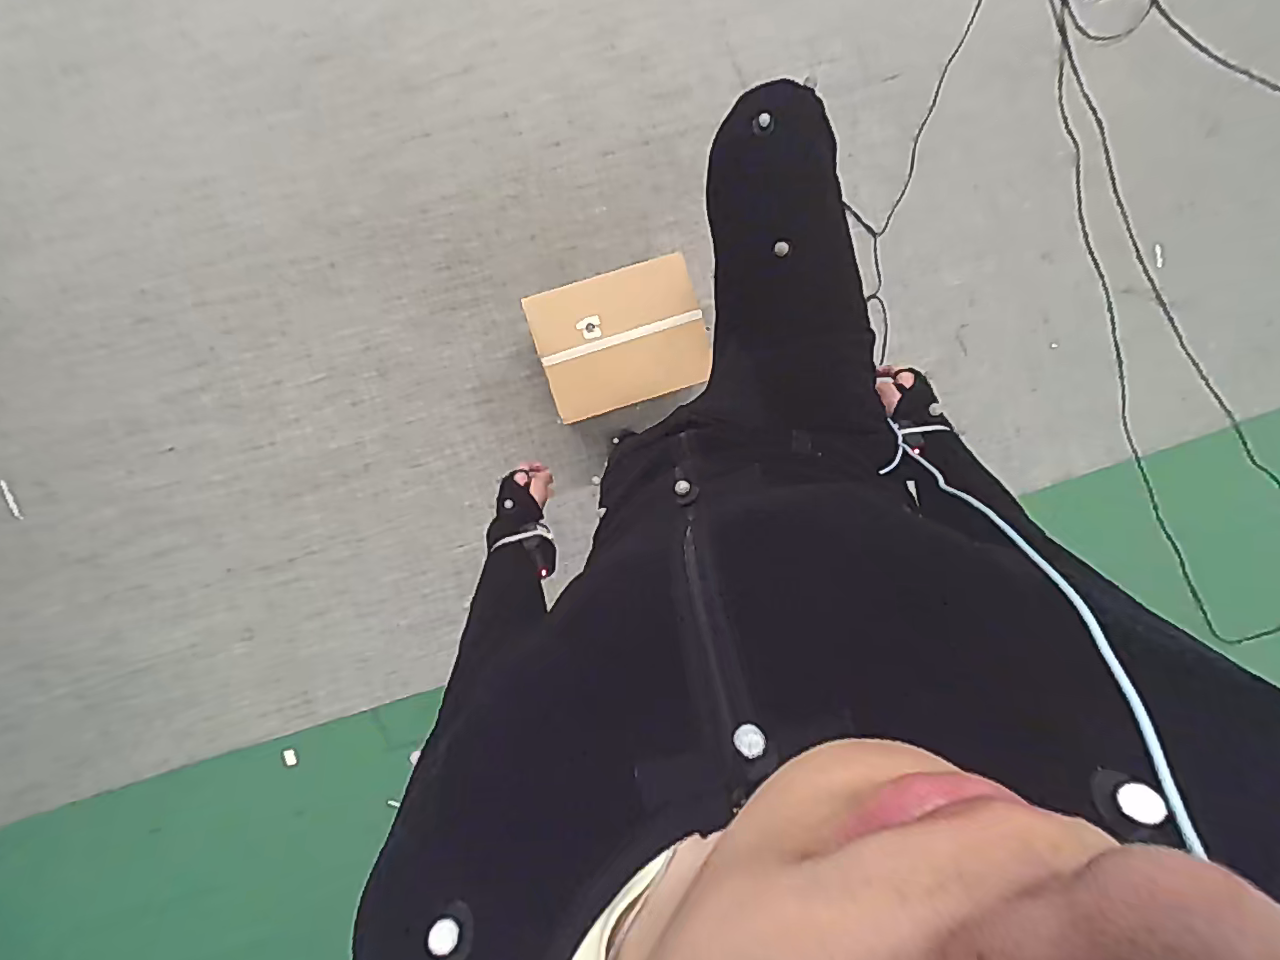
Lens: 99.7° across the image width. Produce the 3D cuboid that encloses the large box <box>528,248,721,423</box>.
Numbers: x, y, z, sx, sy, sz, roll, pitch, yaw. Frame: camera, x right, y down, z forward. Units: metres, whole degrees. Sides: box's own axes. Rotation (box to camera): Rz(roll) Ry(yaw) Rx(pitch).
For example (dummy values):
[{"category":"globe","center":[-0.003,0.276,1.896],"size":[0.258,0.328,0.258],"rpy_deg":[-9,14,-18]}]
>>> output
[{"category":"large box","center":[-0.043,-0.364,1.447],"size":[0.408,0.320,0.320],"rpy_deg":[-19,96,-2]}]
